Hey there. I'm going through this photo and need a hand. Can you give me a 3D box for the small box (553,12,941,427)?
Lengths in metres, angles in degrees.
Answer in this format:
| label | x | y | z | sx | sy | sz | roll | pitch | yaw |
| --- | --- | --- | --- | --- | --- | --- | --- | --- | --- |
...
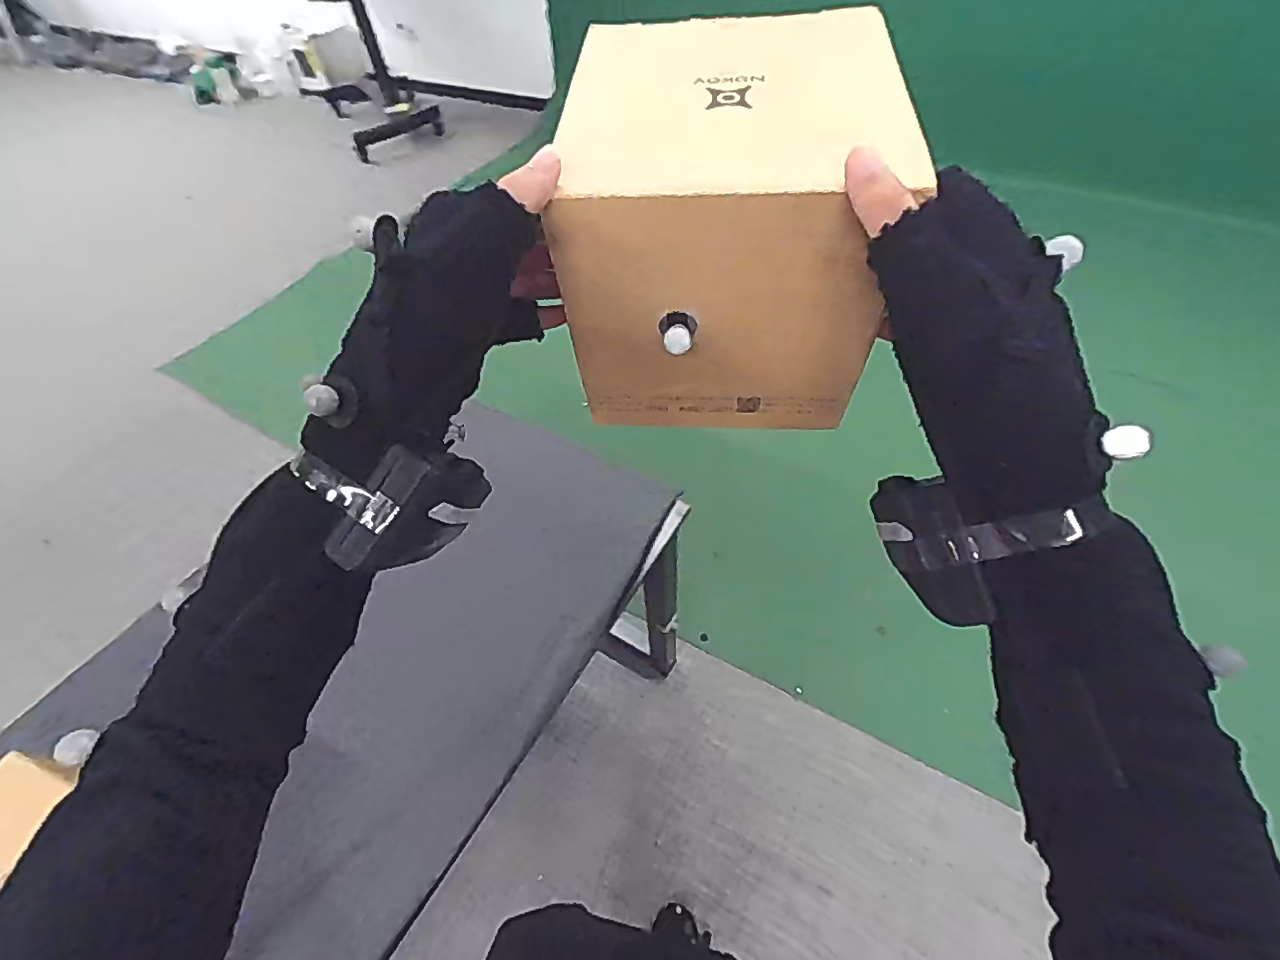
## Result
| label | x | y | z | sx | sy | sz | roll | pitch | yaw |
| --- | --- | --- | --- | --- | --- | --- | --- | --- | --- |
| small box | 0.057 | -0.148 | 0.337 | 0.168 | 0.176 | 0.179 | 2 | 58 | 7 |
